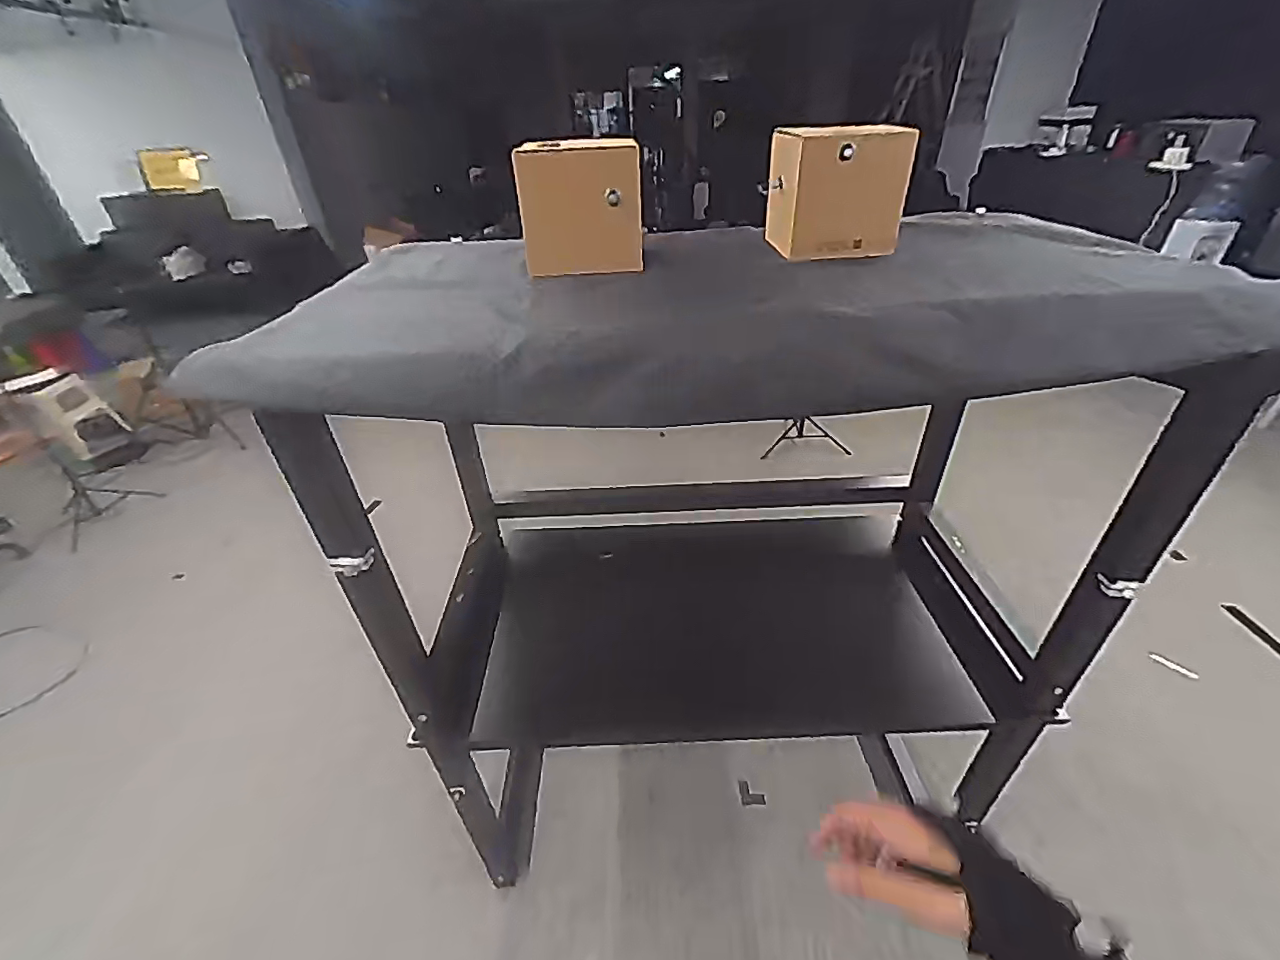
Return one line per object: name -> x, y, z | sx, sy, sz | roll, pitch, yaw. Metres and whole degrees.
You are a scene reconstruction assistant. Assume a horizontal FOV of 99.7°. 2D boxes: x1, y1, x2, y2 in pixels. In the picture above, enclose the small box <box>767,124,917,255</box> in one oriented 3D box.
small box -> 0.307, -0.466, 0.866 | 0.168, 0.176, 0.179 | -3, 34, 0
